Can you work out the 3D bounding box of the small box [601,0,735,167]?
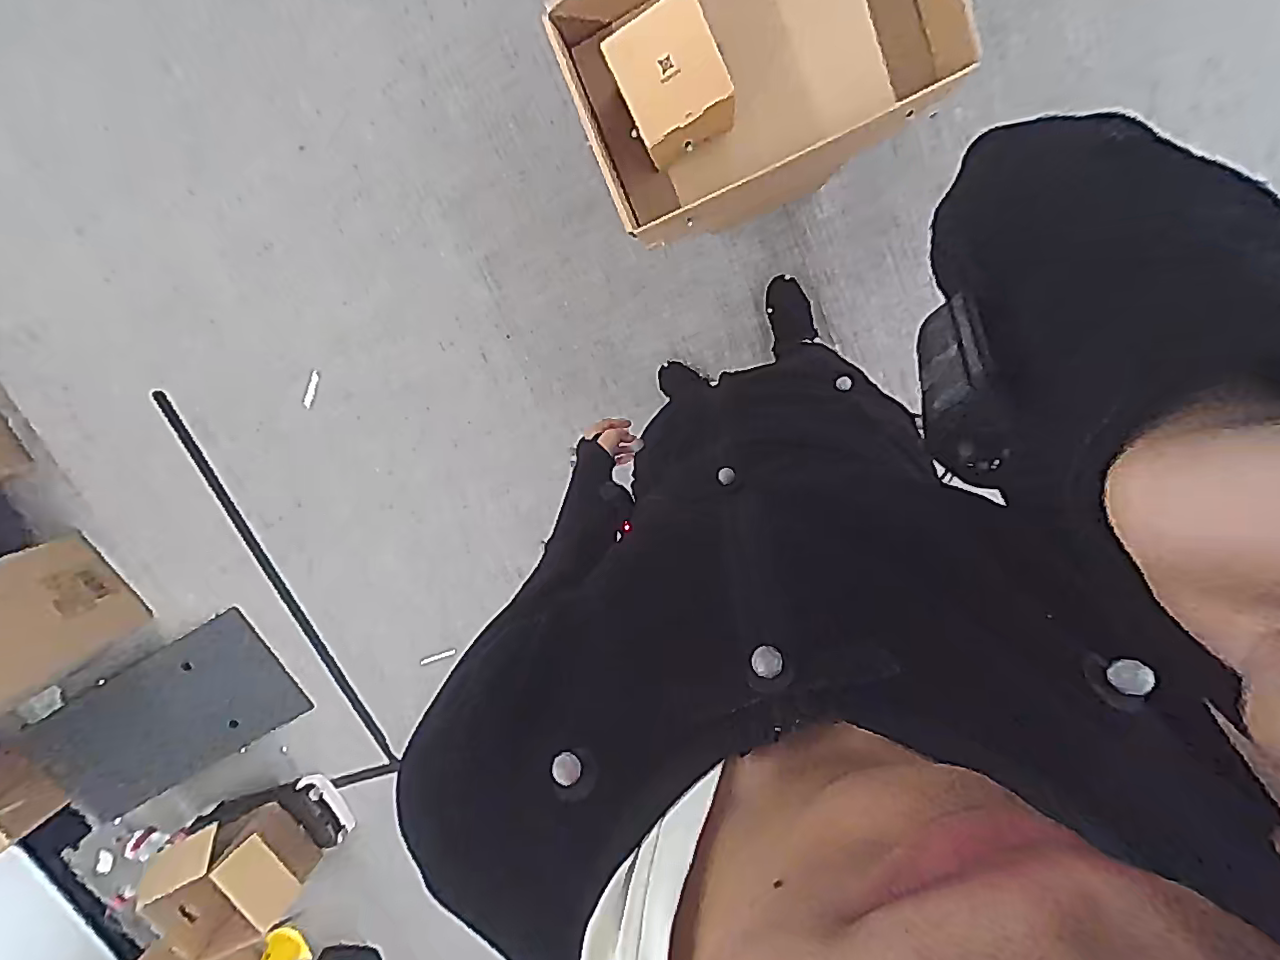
[{"bbox_3d":[0.053,-0.694,0.951,0.168,0.176,0.179,-26,102,14],"label":"small box"}]
